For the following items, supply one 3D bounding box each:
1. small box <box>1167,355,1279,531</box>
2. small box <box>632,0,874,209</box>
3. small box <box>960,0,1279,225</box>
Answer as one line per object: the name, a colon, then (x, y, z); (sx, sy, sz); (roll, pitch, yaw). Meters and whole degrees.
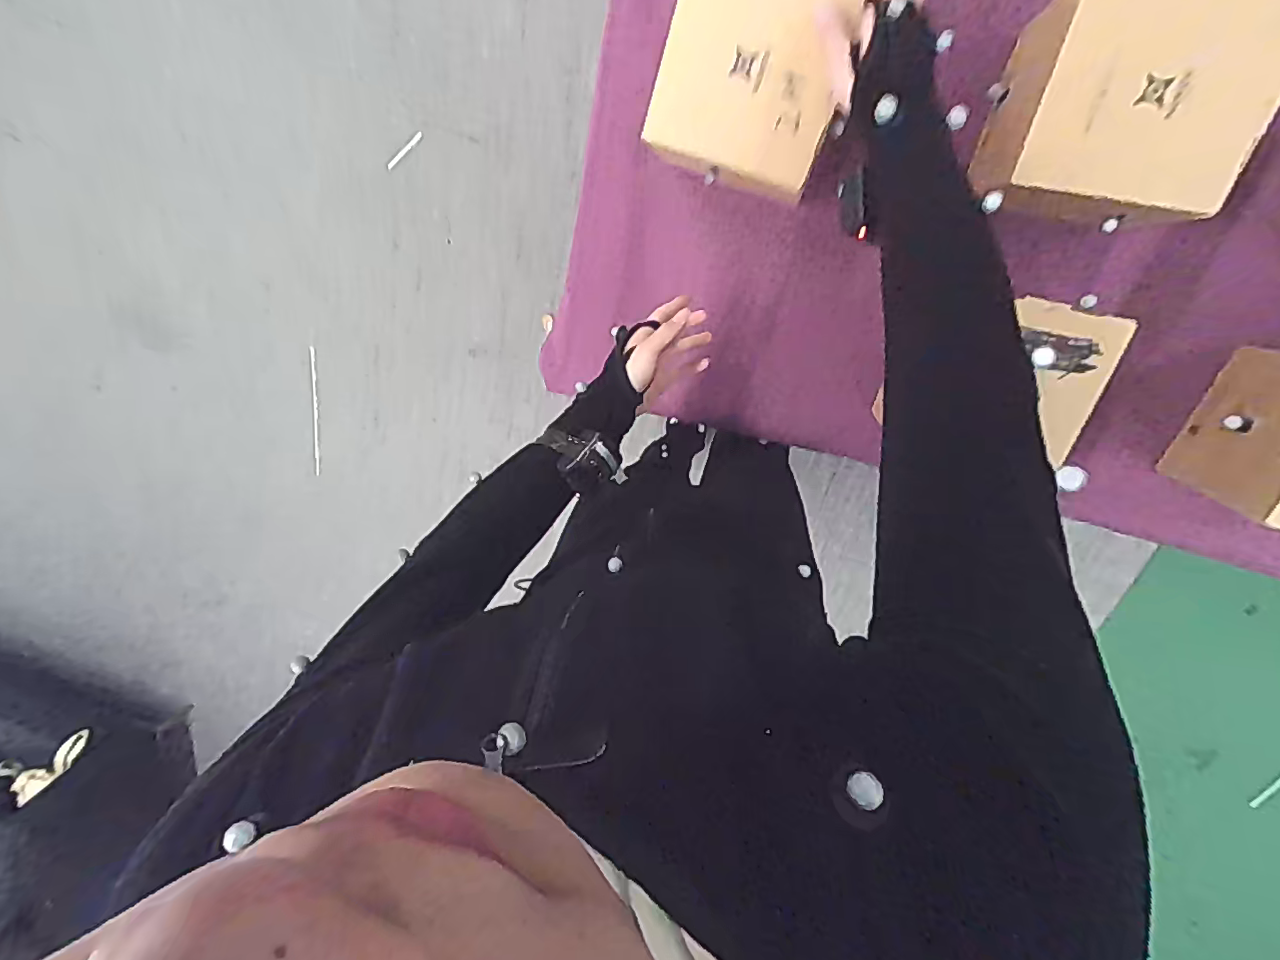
small box: (0.735, -0.026, 0.568); (0.179, 0.176, 0.168); (18, 114, 8)
small box: (0.115, -0.406, 0.577); (0.179, 0.176, 0.168); (24, 116, 4)
small box: (0.448, -0.349, 0.517); (0.179, 0.176, 0.168); (15, 114, 9)
